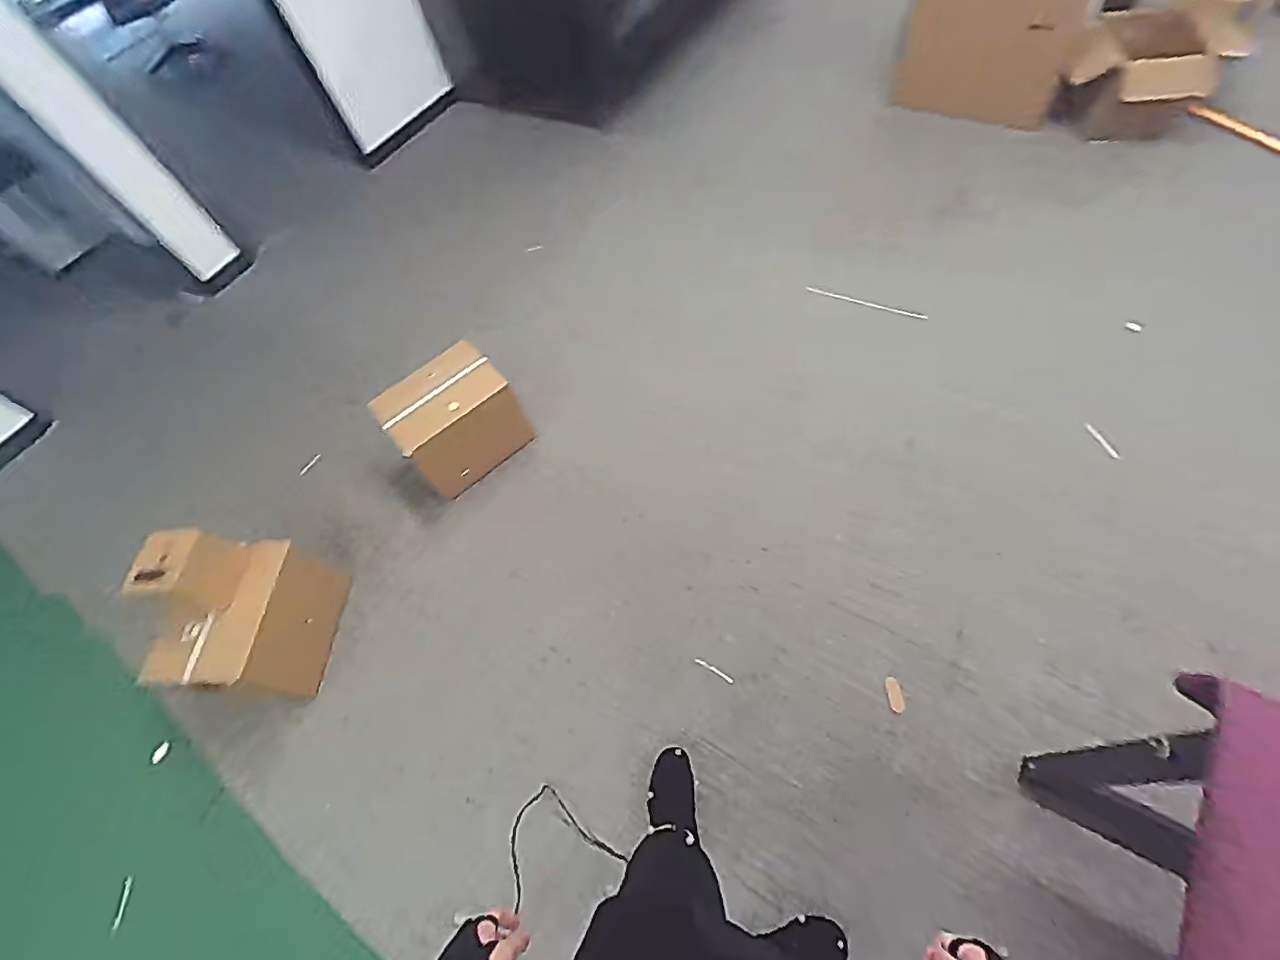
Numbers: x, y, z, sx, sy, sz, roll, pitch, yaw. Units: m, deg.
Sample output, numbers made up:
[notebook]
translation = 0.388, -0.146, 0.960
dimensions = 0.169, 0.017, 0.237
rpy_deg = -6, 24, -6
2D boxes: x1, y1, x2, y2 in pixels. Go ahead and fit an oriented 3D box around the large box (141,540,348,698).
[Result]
[large box]
translation = -1.165, 0.430, 1.651
dimensions = 0.320, 0.320, 0.408
rpy_deg = -4, 60, 8
